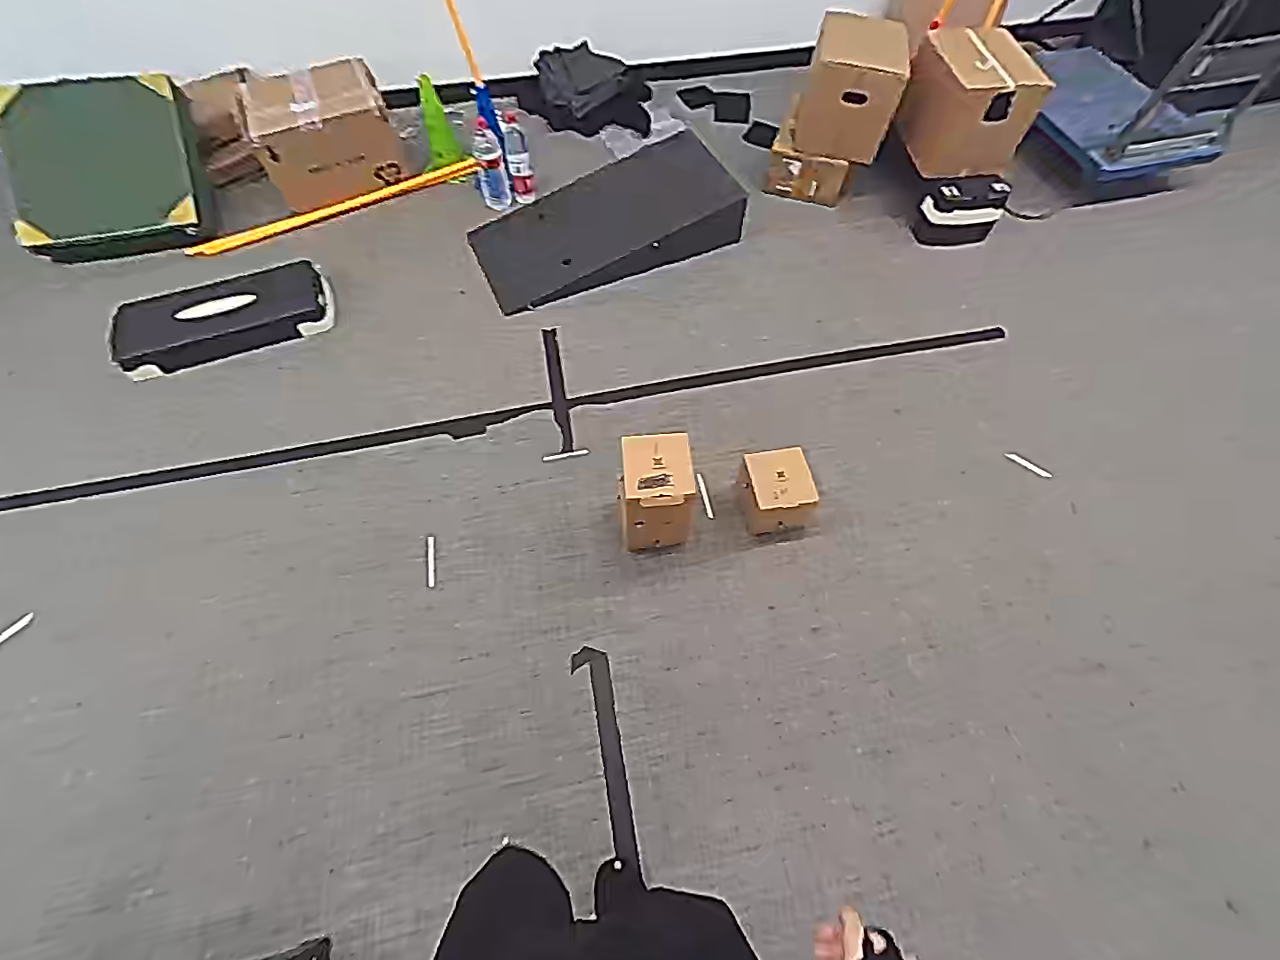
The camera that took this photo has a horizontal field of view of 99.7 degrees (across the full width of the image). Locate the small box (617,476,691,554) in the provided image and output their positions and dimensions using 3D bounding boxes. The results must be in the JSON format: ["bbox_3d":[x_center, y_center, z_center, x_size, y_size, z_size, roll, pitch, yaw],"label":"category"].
[{"bbox_3d":[0.033,0.091,1.490,0.179,0.176,0.168,-7,61,-6],"label":"small box"}]

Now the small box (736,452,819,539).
[{"bbox_3d":[0.376,0.045,1.520,0.168,0.176,0.179,-8,62,-5],"label":"small box"}]

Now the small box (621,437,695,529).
[{"bbox_3d":[0.040,0.015,1.343,0.168,0.176,0.179,-3,60,-3],"label":"small box"}]
